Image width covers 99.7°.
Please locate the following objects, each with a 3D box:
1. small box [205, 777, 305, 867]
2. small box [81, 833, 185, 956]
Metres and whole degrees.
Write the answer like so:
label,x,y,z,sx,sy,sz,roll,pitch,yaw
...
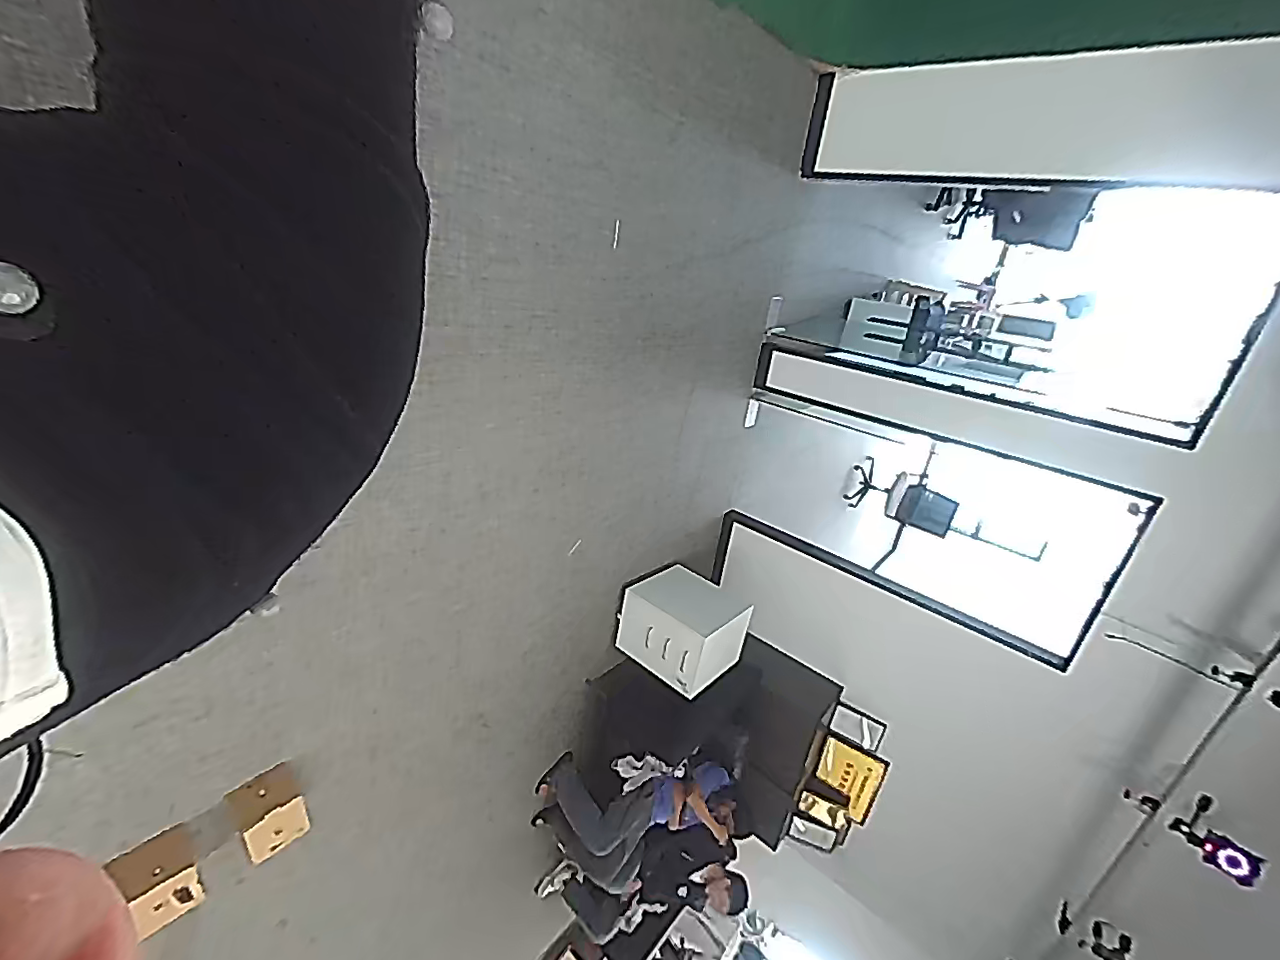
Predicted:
label,x,y,z,sx,sy,sz,roll,pitch,yaw
small box,-1.234,1.091,1.729,0.179,0.176,0.168,-50,146,-24
small box,-1.419,1.149,1.517,0.179,0.176,0.168,-15,120,-51
